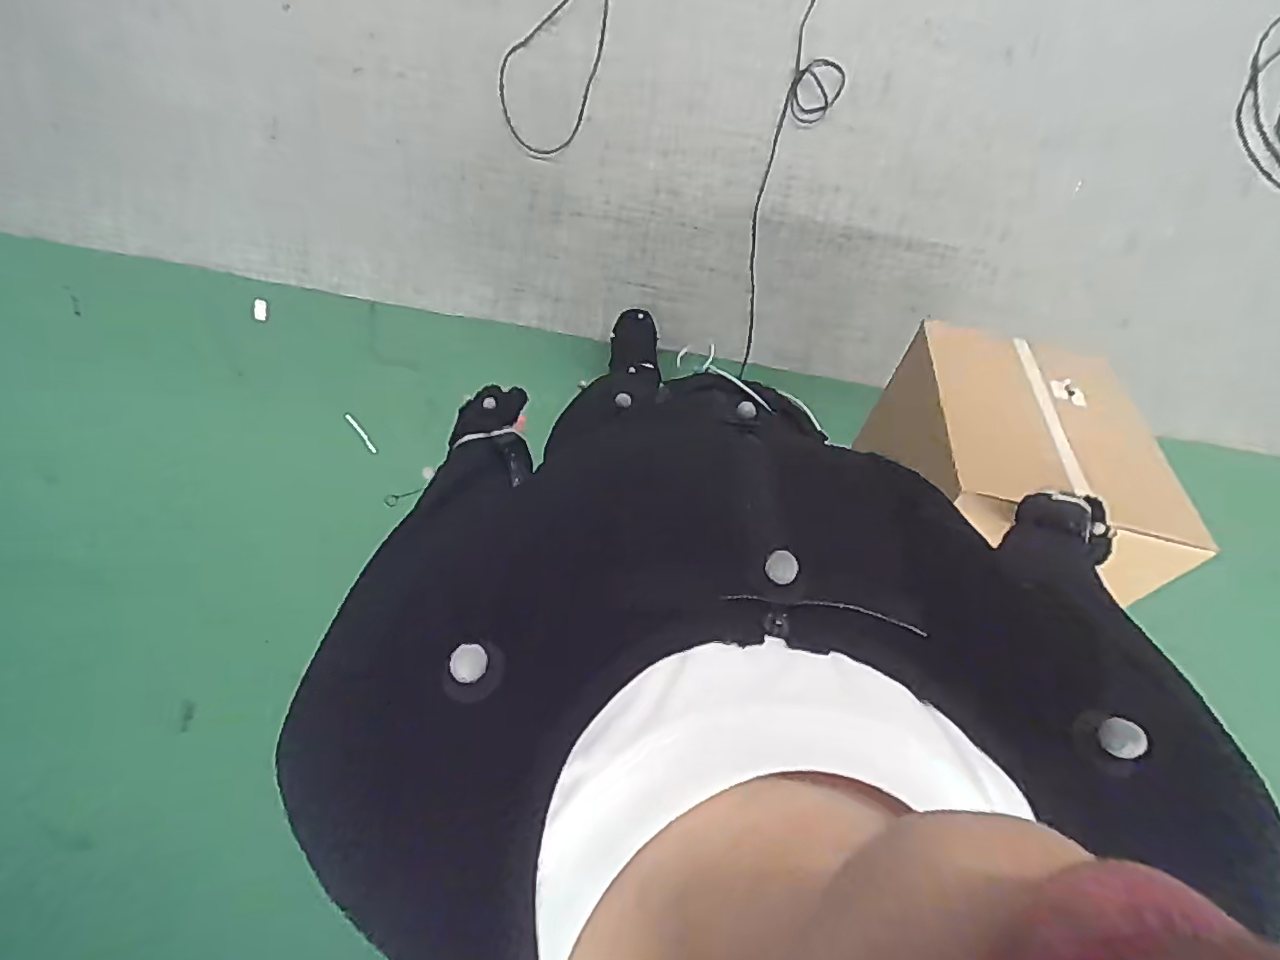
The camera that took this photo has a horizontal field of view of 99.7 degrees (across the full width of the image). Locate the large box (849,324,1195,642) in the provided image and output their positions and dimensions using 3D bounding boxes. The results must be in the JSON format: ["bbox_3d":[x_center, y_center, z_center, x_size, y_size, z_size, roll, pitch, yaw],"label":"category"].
[{"bbox_3d":[0.571,0.003,0.919,0.320,0.408,0.320,15,139,3],"label":"large box"}]
